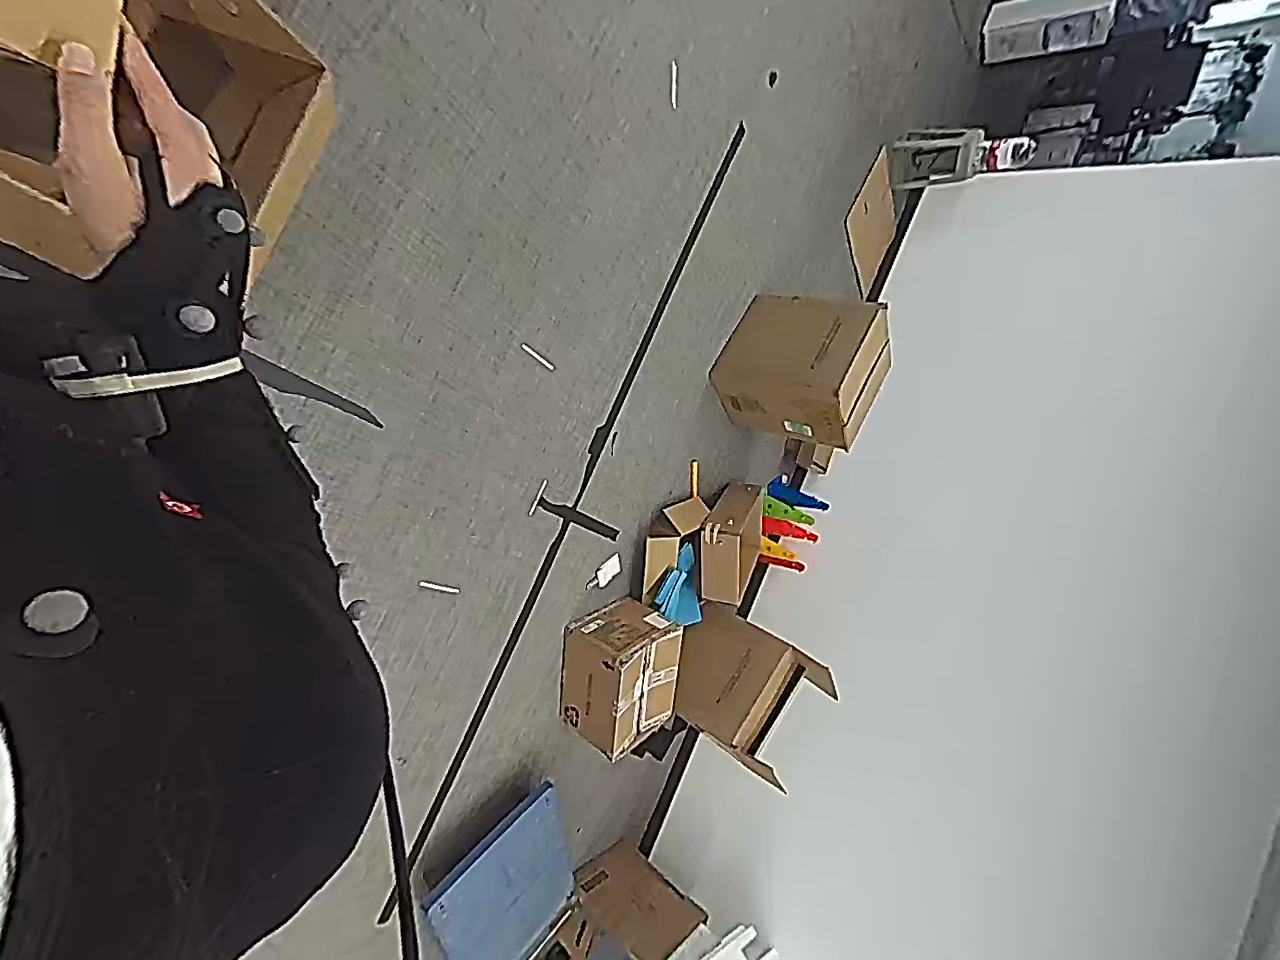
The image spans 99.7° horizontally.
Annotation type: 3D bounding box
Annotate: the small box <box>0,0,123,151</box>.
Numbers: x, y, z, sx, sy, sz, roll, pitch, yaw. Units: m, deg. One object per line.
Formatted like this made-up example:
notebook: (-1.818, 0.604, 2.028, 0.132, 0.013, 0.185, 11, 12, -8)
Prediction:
small box: (-0.370, -0.298, 0.254, 0.168, 0.176, 0.179, 6, 92, -55)
